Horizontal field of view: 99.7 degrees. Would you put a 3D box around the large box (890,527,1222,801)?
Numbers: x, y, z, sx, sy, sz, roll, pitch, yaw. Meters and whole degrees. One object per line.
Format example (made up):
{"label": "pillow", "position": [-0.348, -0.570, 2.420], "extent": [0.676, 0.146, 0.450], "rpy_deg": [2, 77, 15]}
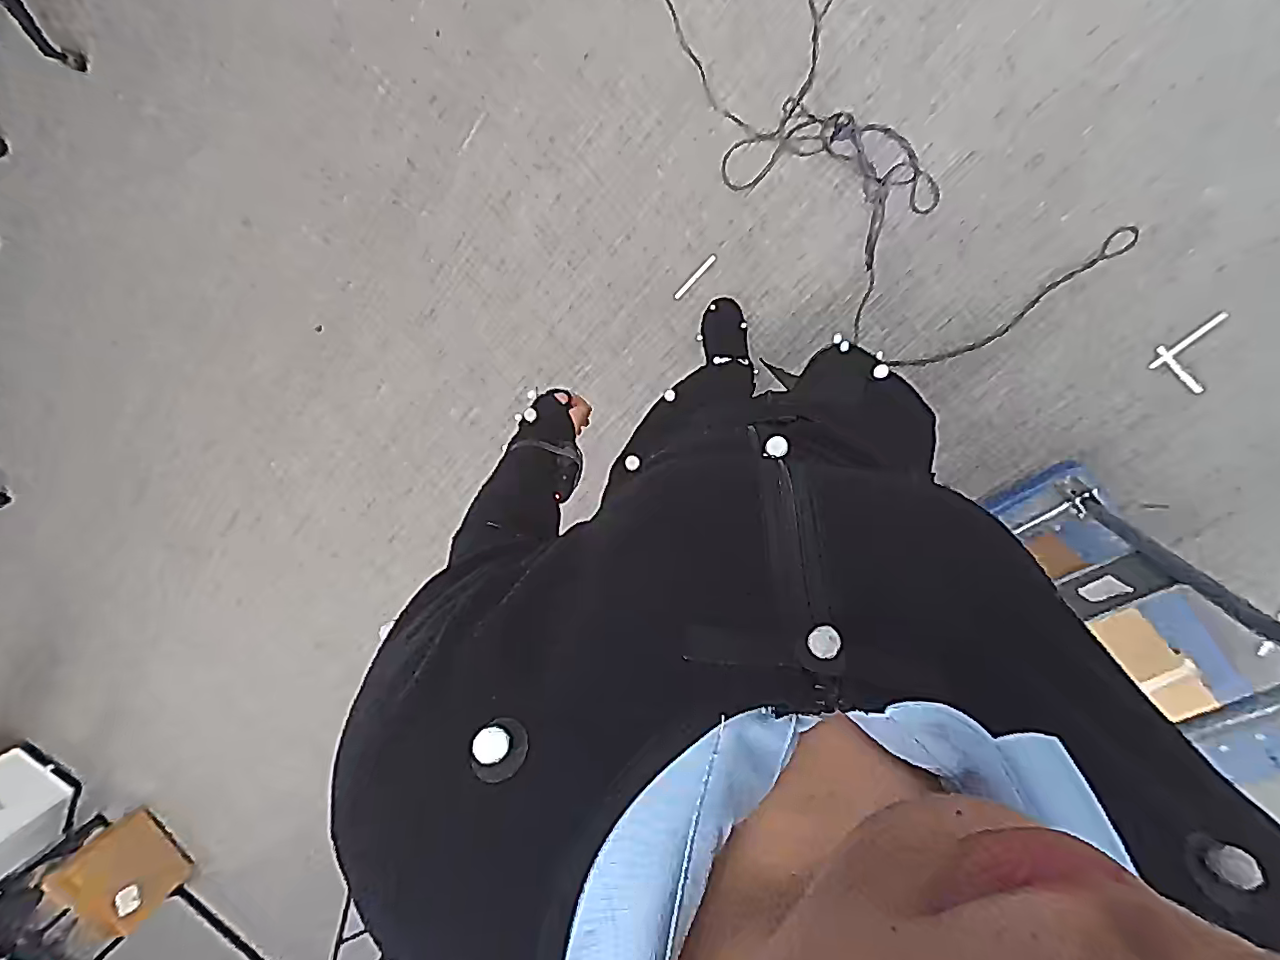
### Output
{"label": "large box", "position": [0.817, 0.373, 1.142], "extent": [0.320, 0.320, 0.408], "rpy_deg": [47, 114, -3]}
